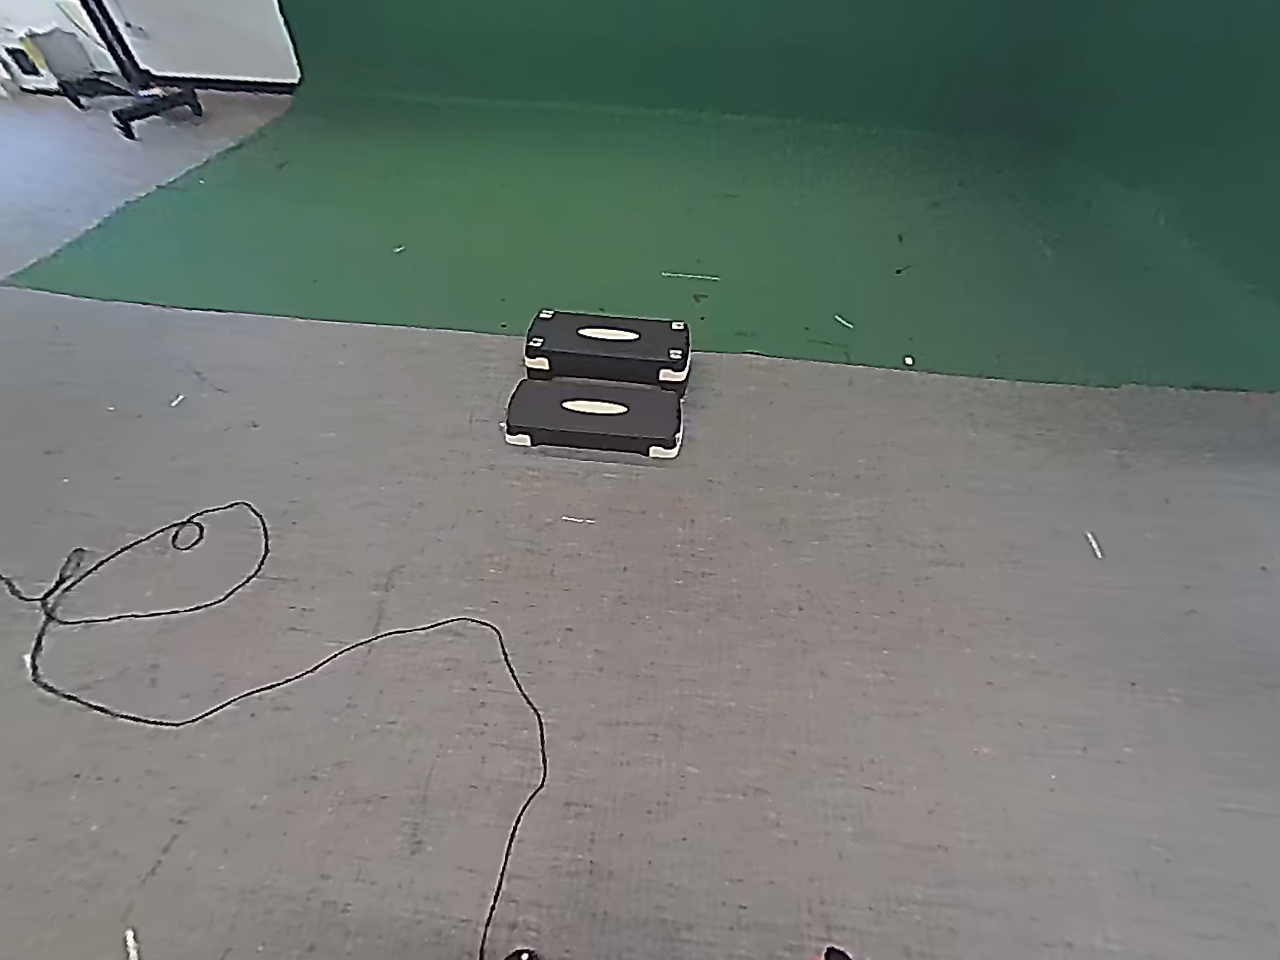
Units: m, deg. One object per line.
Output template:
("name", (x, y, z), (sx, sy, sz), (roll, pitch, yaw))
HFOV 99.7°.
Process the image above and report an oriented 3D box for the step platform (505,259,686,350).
("step platform", (-0.168, -0.692, 2.138), (0.684, 0.204, 0.286), (5, 50, 3))
